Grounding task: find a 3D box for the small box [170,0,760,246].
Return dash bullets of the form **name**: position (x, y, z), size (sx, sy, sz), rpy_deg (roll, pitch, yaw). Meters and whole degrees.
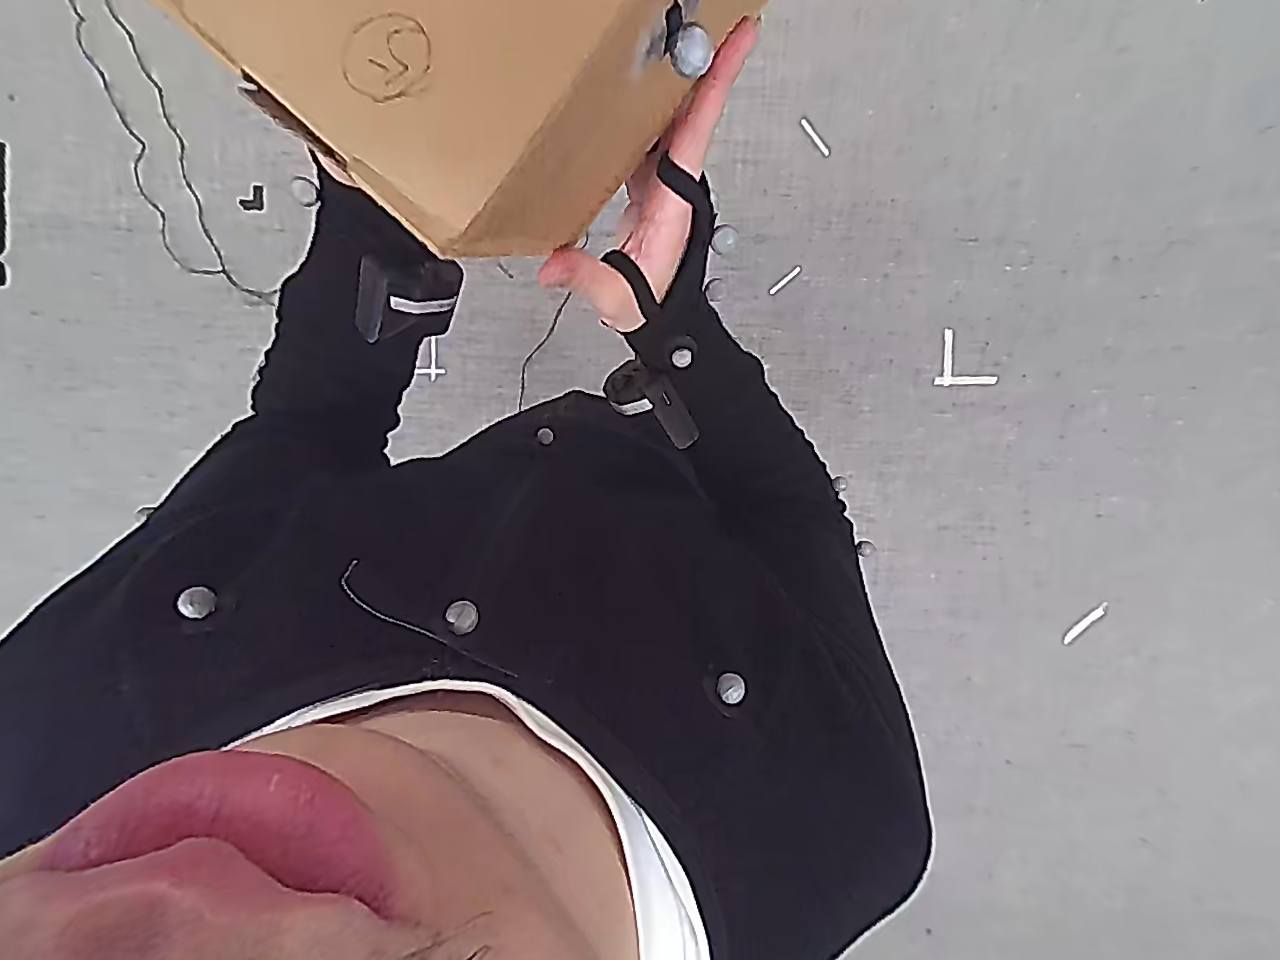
- **small box**: position (-0.049, -0.203, 0.180), size (0.168, 0.176, 0.179), rpy_deg (41, 109, -14)
